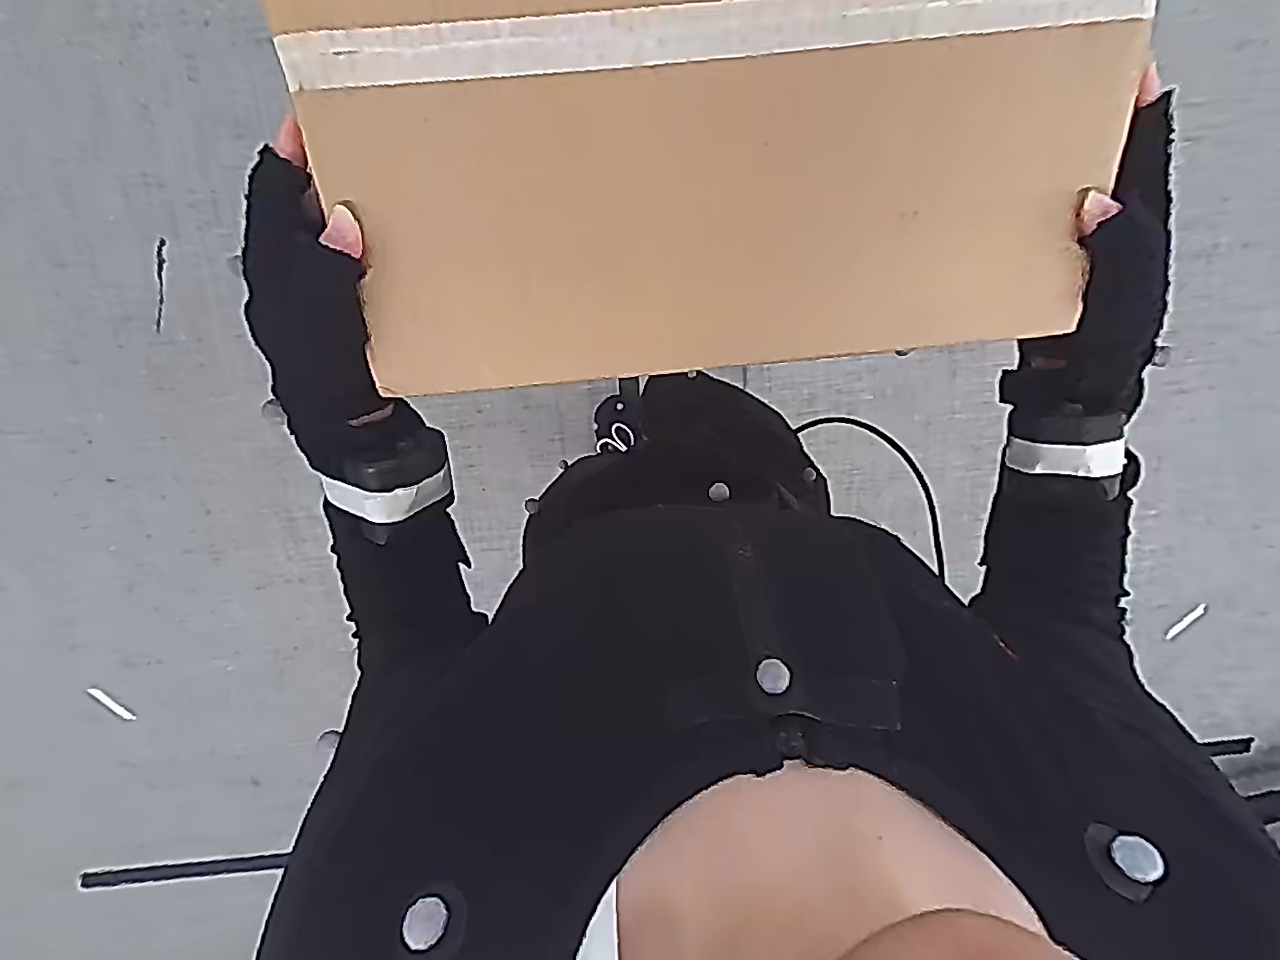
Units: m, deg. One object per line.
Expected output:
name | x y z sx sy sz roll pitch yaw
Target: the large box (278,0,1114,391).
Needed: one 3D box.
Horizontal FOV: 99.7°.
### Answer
large box | 0.027 -0.275 0.395 0.408 0.320 0.320 -6 114 -1
